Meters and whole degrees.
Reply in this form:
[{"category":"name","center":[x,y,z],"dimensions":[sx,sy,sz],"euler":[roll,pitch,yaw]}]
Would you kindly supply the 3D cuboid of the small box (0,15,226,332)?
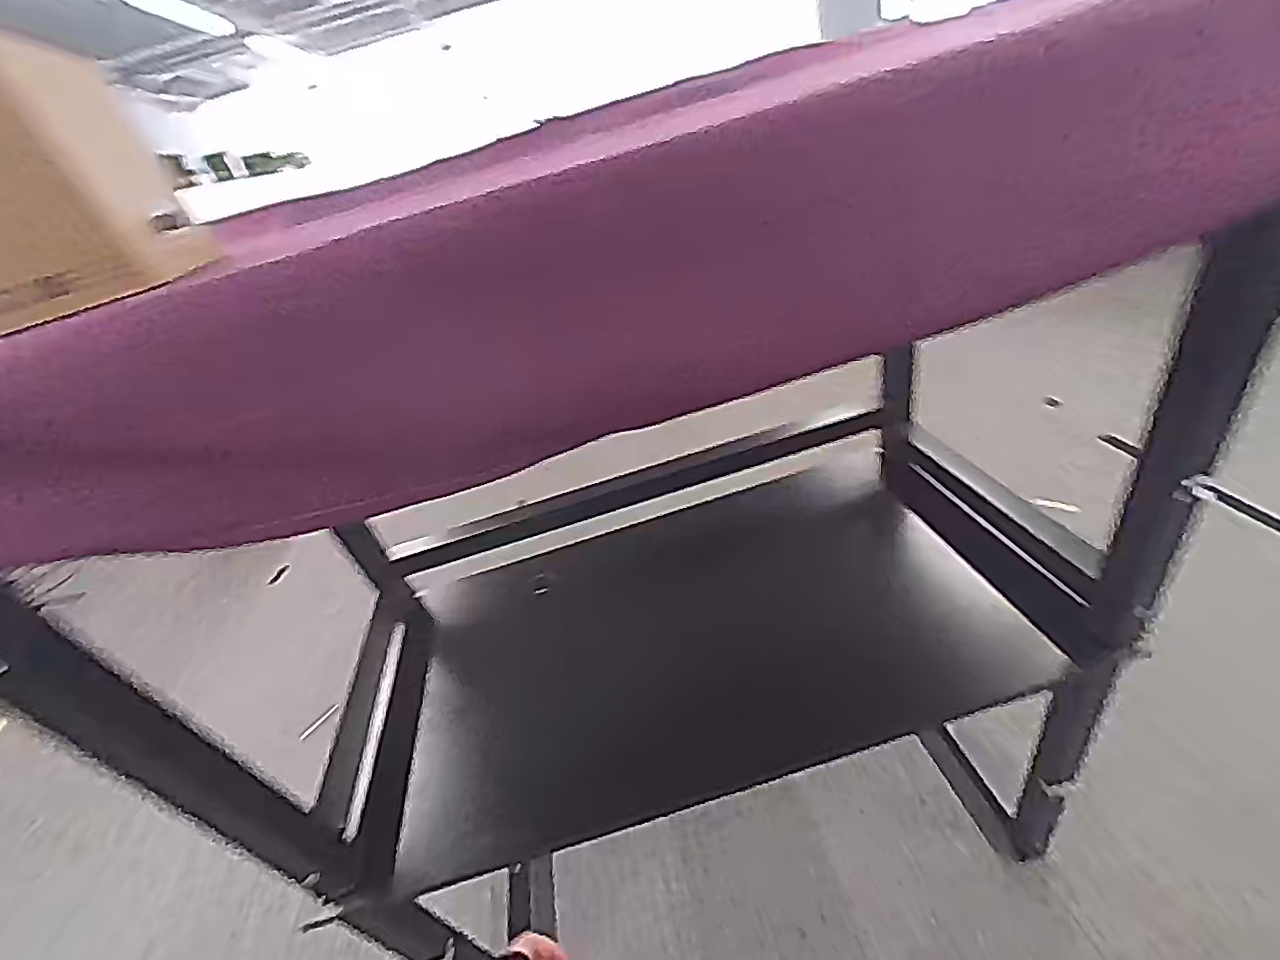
[{"category":"small box","center":[-0.480,-0.228,0.429],"dimensions":[0.168,0.176,0.179],"euler":[-22,34,-8]}]
